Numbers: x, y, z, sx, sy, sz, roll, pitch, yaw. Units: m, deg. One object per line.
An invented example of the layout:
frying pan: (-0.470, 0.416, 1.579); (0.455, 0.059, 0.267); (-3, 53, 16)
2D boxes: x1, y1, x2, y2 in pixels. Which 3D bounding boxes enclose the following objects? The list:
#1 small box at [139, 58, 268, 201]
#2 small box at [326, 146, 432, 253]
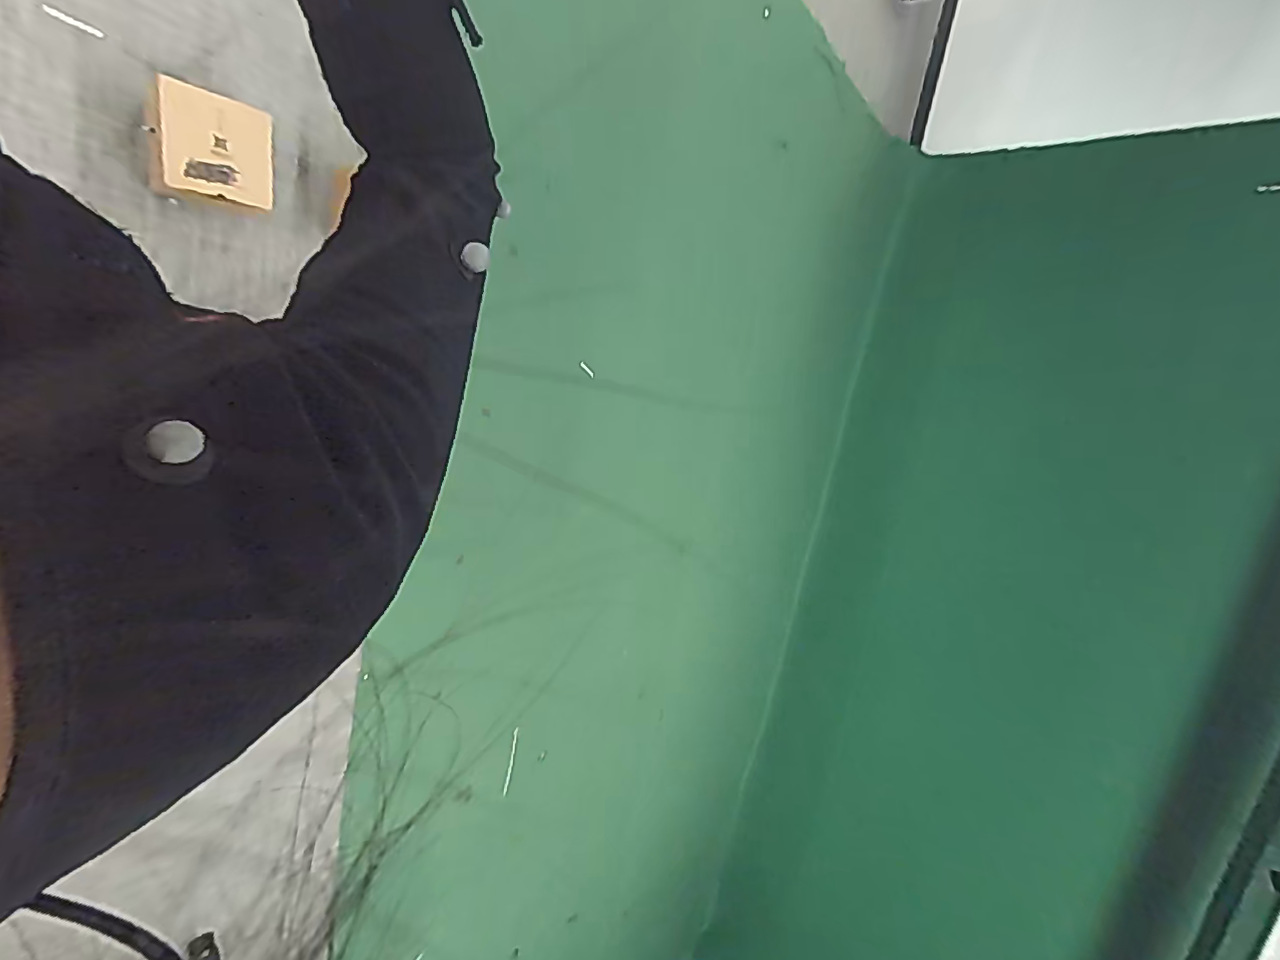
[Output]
small box: (-0.829, -0.649, 1.030); (0.168, 0.176, 0.179); (-7, 110, -49)
small box: (-0.620, -0.652, 1.278); (0.168, 0.176, 0.179); (1, 105, -49)
